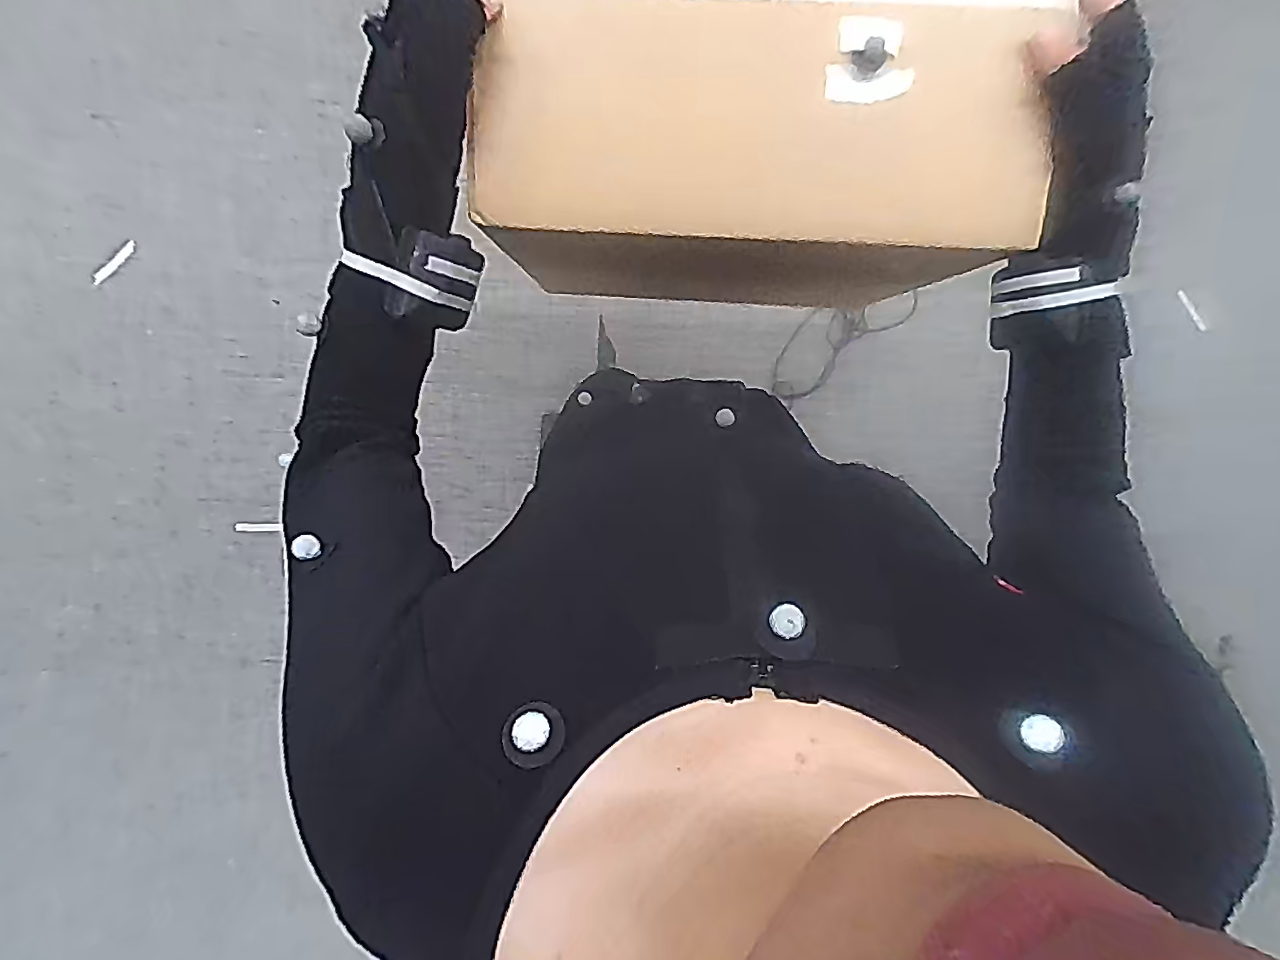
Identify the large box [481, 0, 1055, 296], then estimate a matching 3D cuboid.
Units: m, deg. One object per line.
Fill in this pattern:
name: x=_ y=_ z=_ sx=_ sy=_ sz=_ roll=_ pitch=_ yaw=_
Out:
large box: x=0.086 y=-0.364 z=0.517 sx=0.408 sy=0.320 sz=0.320 roll=2 pitch=101 yaw=-1
